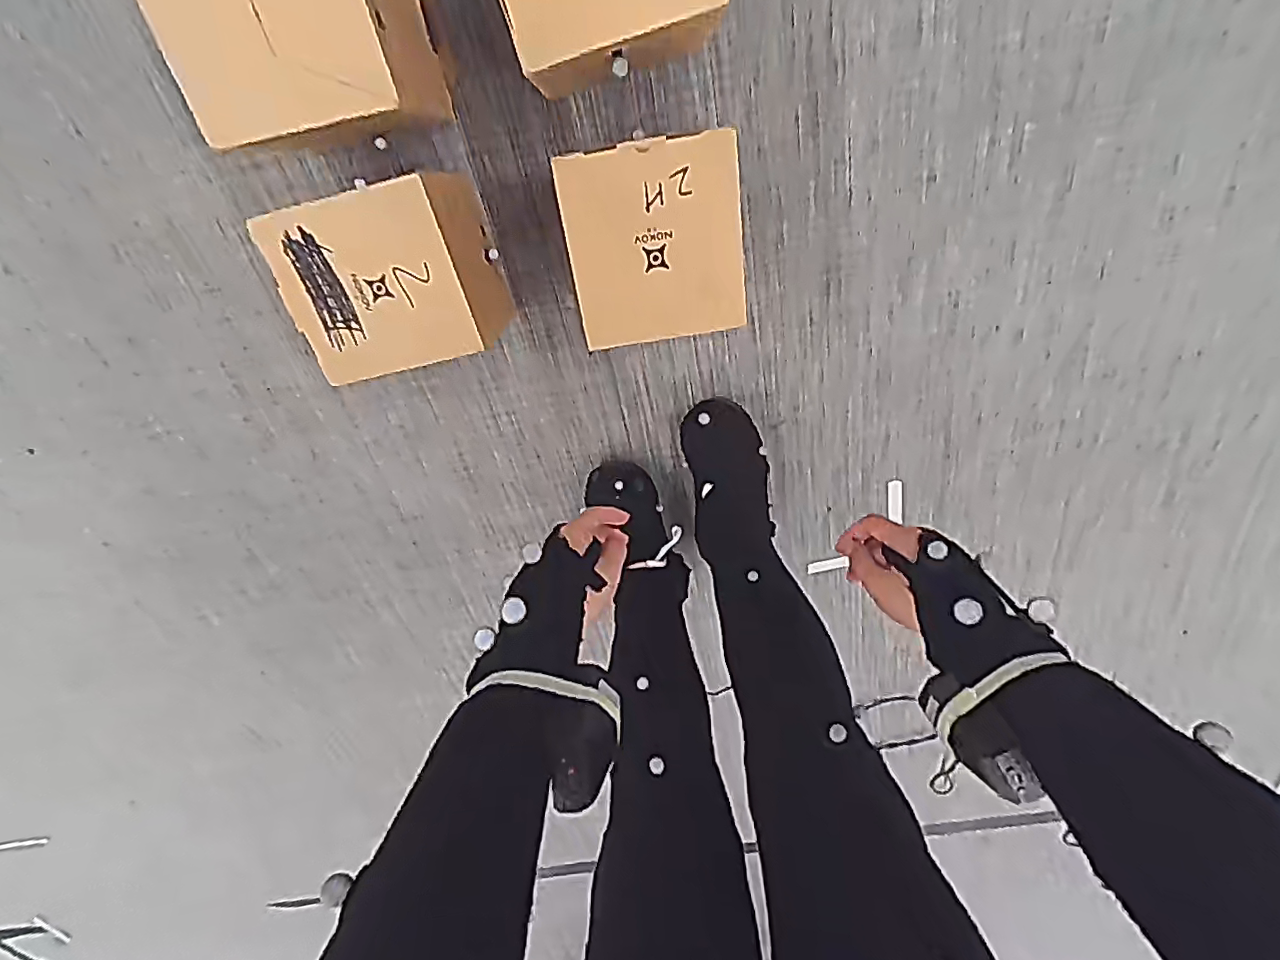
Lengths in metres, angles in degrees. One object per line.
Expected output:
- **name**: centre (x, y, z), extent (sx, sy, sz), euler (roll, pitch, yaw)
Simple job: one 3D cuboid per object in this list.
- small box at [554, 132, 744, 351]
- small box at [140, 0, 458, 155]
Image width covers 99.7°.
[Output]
- **small box**: centre (0.014, -0.257, 0.581), extent (0.168, 0.176, 0.179), euler (-8, 119, 3)
- **small box**: centre (-0.297, -0.406, 0.489), extent (0.179, 0.176, 0.168), euler (-10, 119, 4)
